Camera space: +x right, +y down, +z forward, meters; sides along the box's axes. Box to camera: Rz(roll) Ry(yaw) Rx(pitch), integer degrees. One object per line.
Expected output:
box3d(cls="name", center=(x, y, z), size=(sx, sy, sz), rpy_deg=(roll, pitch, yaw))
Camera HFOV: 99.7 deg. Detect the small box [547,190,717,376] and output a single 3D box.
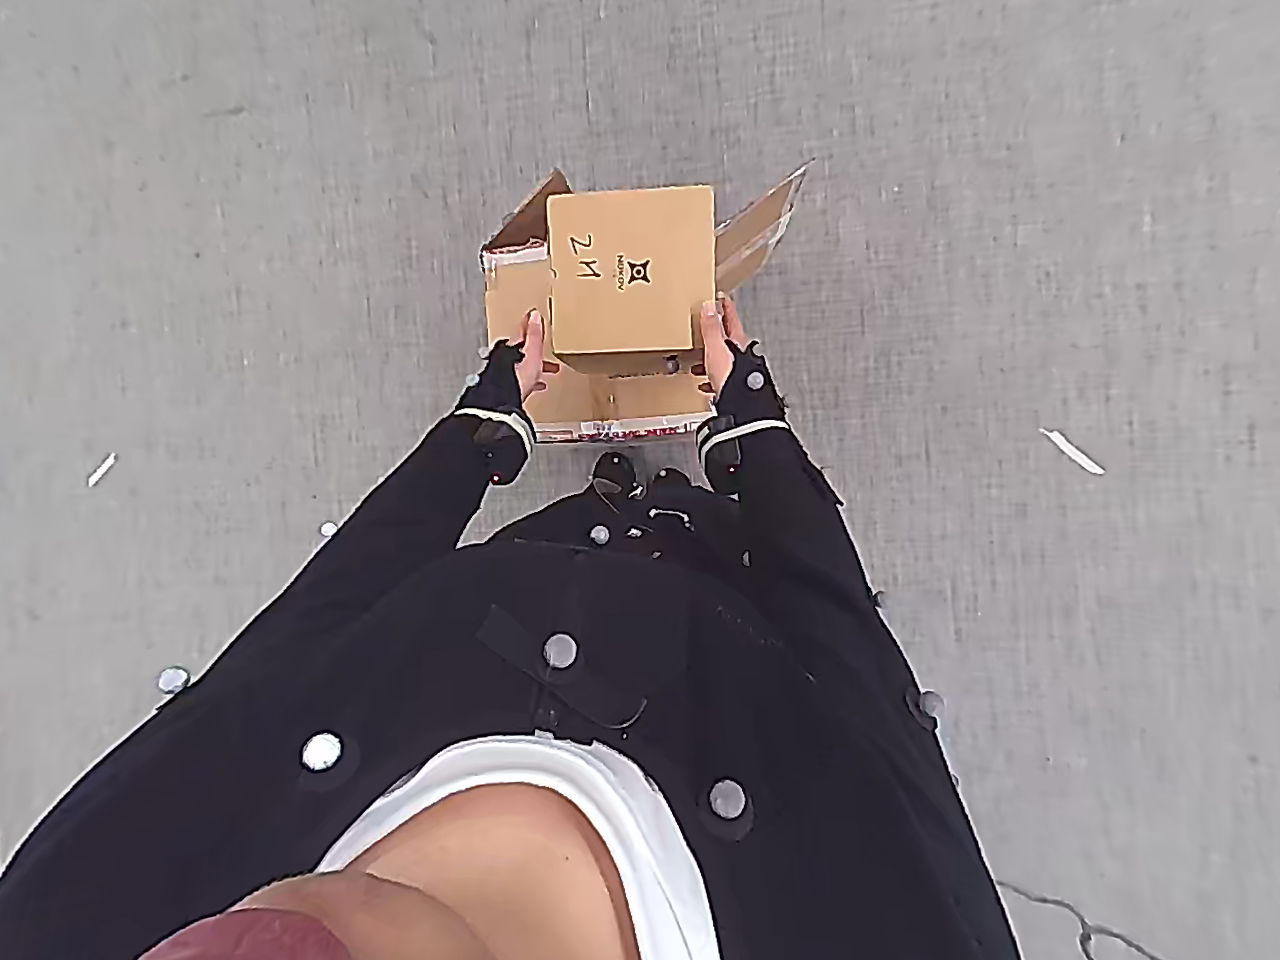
box3d(cls="small box", center=(-0.003, -0.217, 0.636), size=(0.179, 0.176, 0.168), rpy_deg=(-1, 93, 5))
